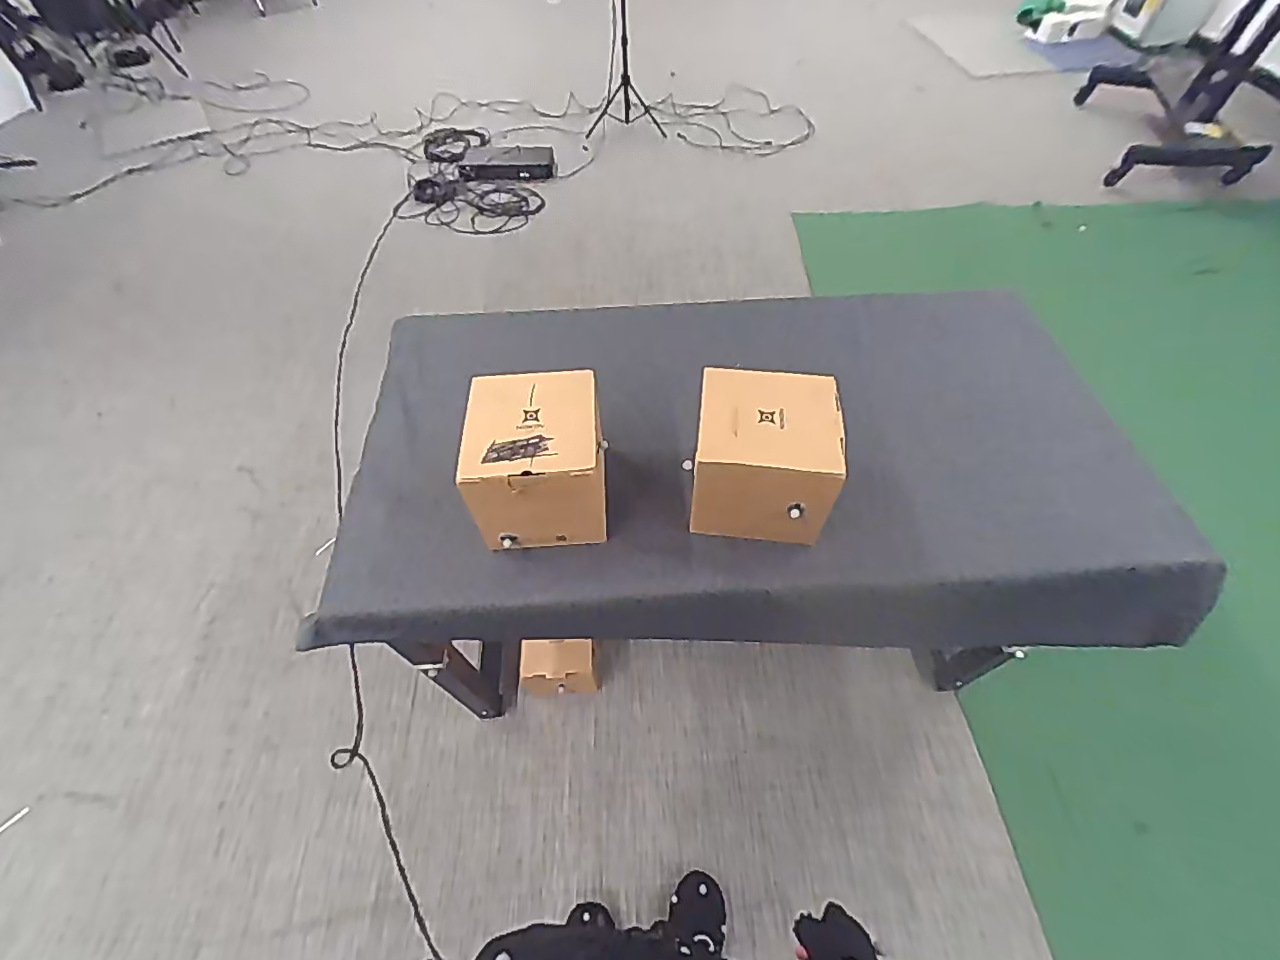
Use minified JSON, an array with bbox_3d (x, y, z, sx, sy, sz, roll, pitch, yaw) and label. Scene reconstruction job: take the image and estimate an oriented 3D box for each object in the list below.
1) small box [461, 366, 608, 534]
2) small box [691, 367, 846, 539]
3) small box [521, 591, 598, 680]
[{"bbox_3d":[-0.132,-0.034,0.748,0.168,0.176,0.179,-3,54,-1],"label":"small box"},{"bbox_3d":[0.167,-0.032,0.747,0.179,0.176,0.168,5,55,6],"label":"small box"},{"bbox_3d":[-0.193,0.391,1.345,0.168,0.176,0.179,-3,56,-1],"label":"small box"}]
